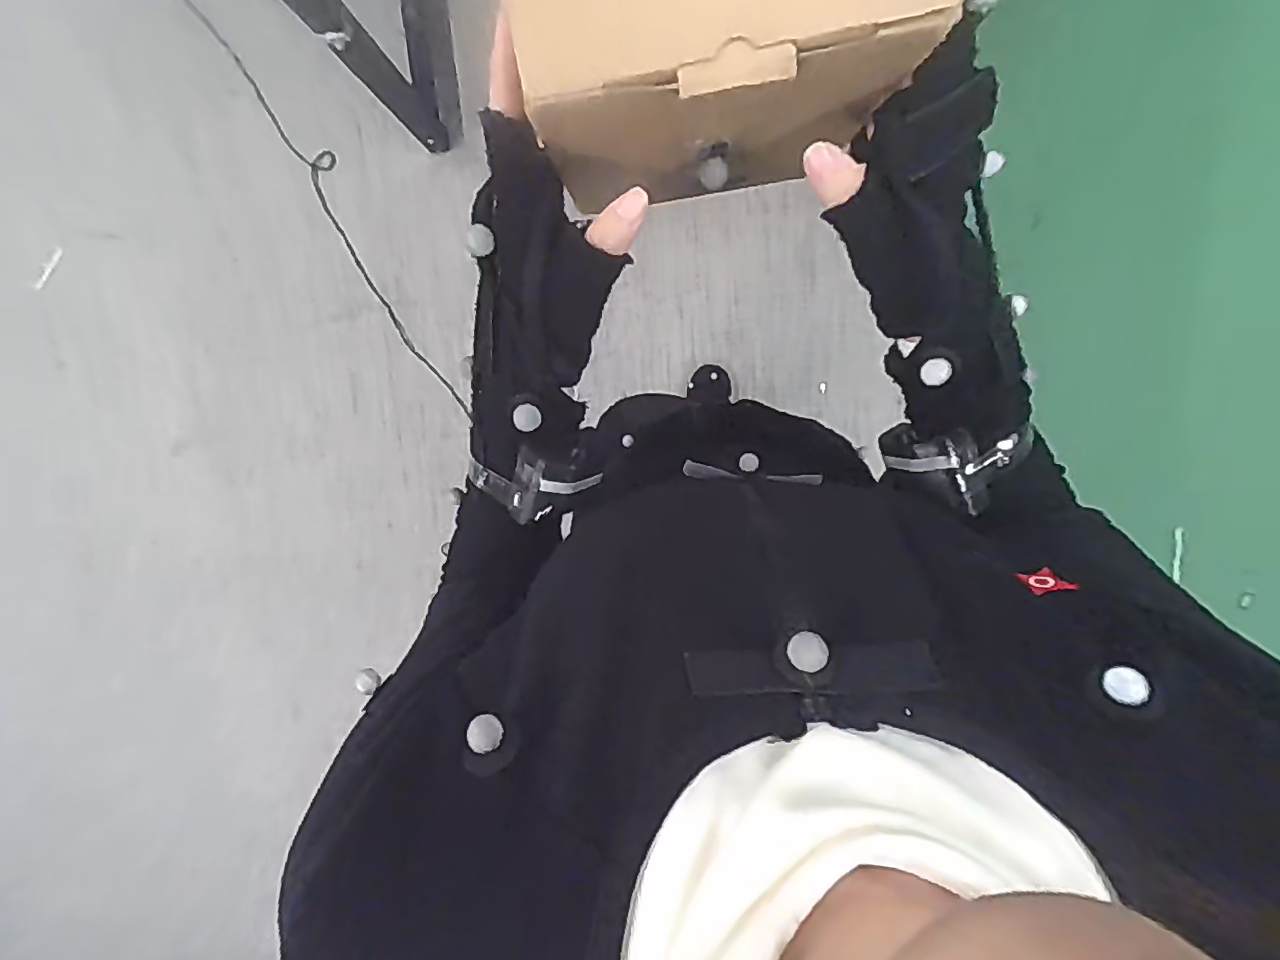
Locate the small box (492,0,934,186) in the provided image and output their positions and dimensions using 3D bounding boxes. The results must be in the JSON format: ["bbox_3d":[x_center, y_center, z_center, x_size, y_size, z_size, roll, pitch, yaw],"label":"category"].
[{"bbox_3d":[0.021,-0.261,0.262,0.168,0.176,0.179,-7,104,4],"label":"small box"}]
